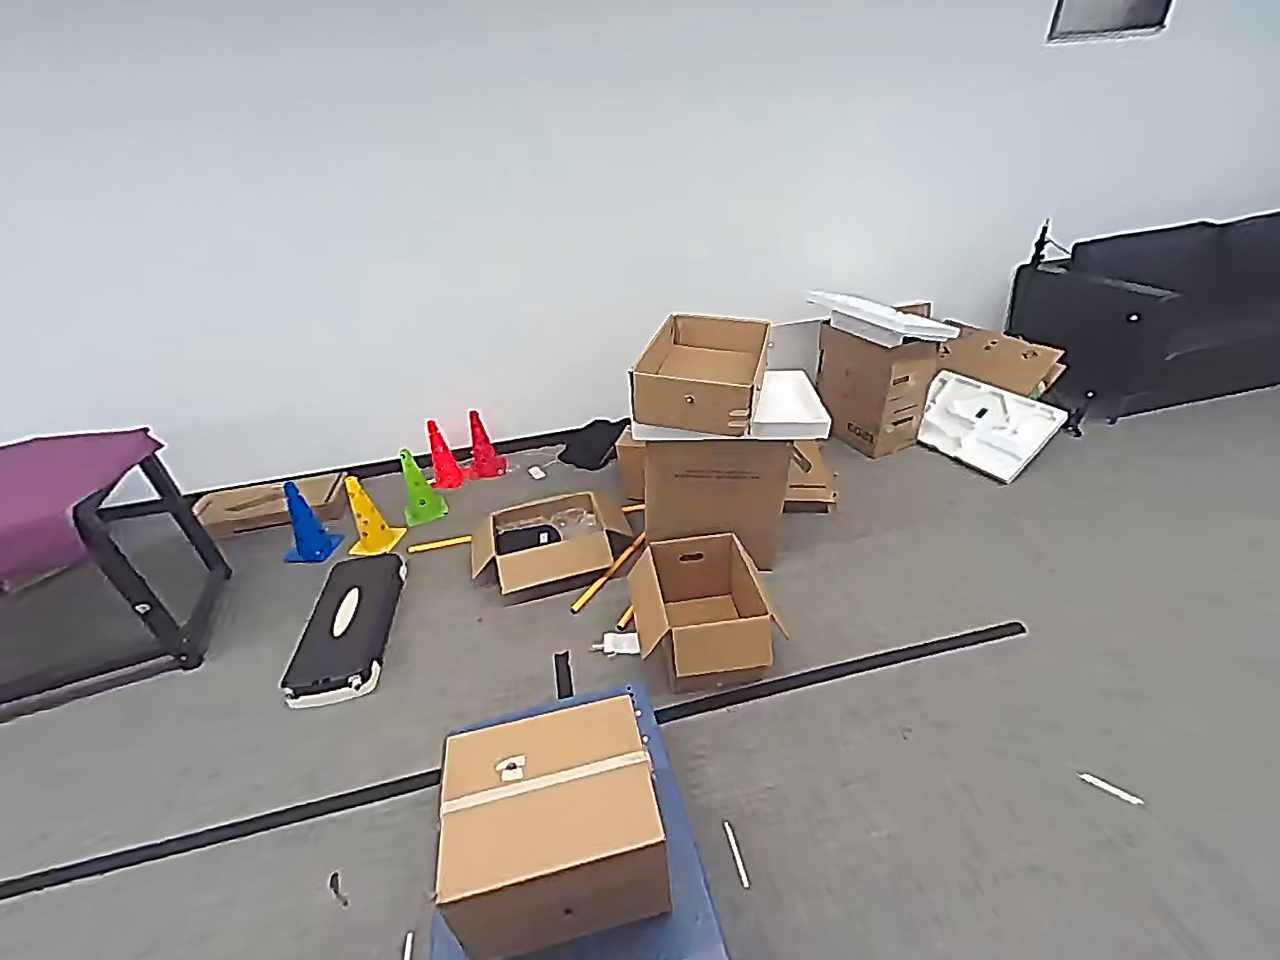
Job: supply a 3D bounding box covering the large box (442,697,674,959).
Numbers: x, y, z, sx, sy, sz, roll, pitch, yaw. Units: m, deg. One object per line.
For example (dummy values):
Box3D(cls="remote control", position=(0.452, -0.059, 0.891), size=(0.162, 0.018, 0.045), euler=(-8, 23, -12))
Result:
Box3D(cls="large box", position=(-0.166, 0.732, 1.151), size=(0.408, 0.320, 0.320), euler=(-11, 32, -8))
